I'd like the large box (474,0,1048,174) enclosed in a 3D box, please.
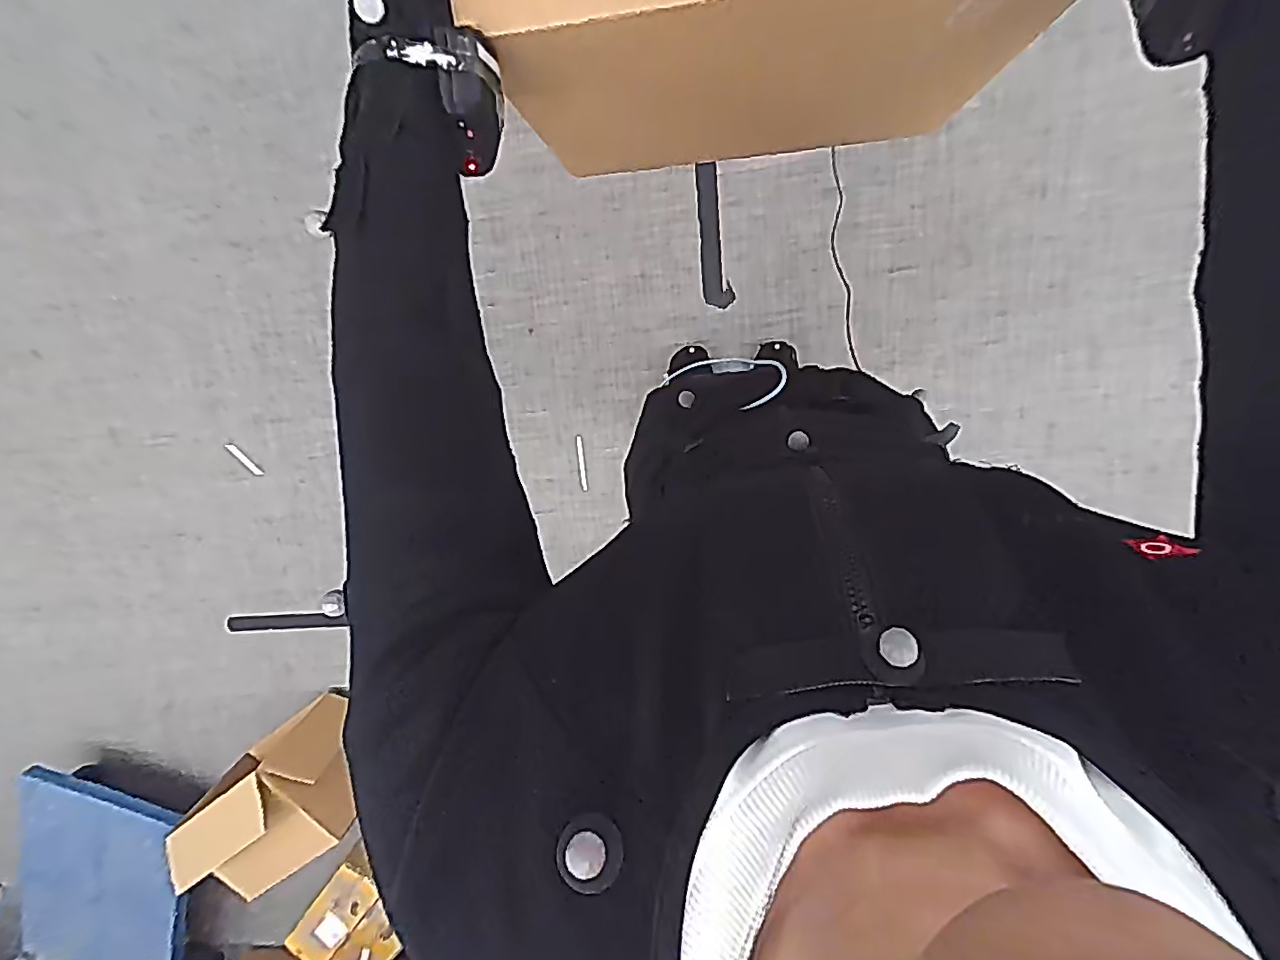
[{"bbox_3d":[0.089,-0.484,0.435,0.408,0.320,0.320,-4,104,7],"label":"large box"}]
